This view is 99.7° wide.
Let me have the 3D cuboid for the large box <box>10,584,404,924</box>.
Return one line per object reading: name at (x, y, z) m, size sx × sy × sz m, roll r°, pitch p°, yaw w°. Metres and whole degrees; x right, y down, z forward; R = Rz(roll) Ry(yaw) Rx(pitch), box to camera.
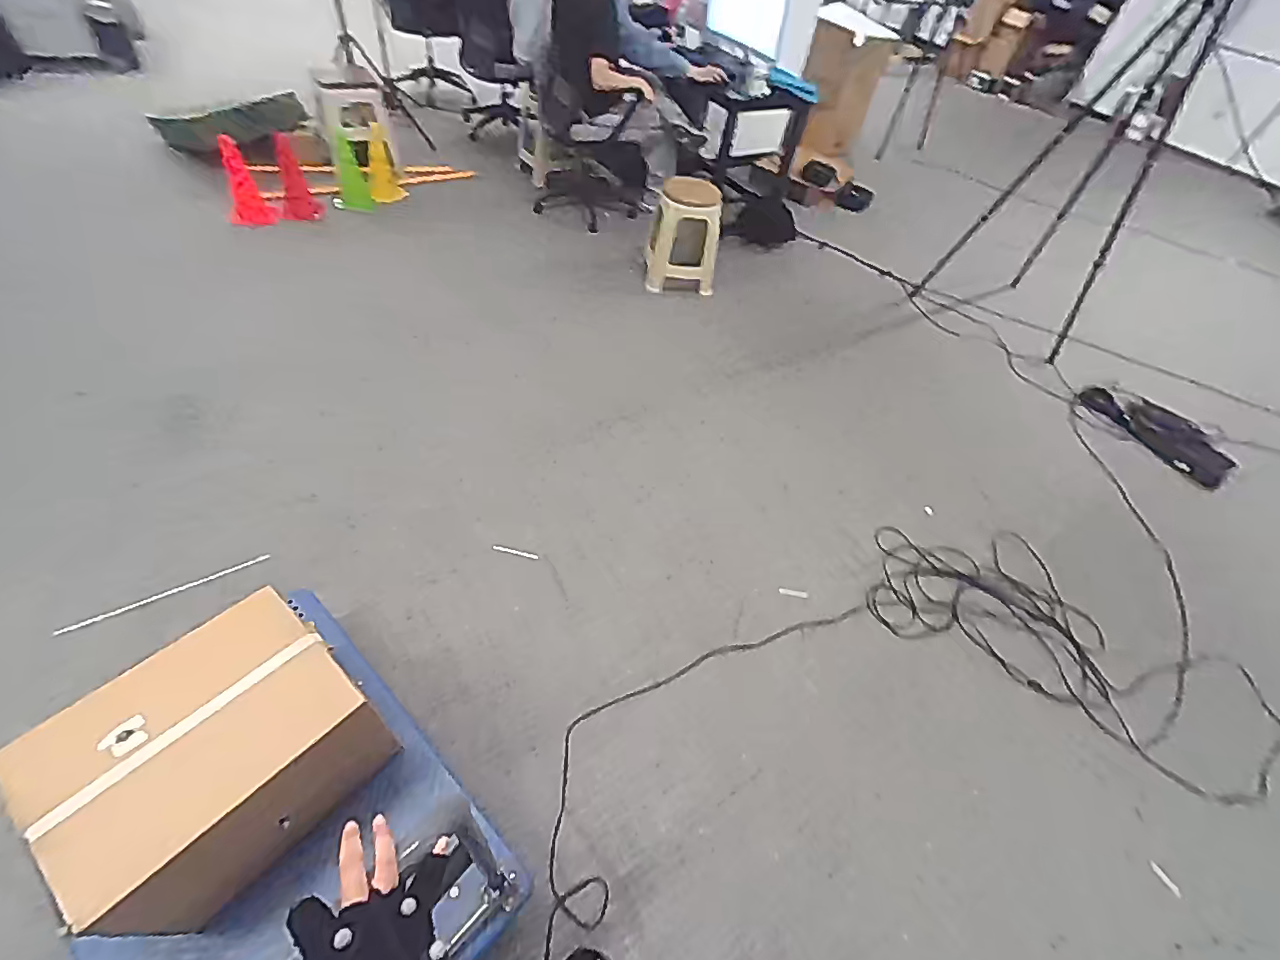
large box at (-0.714, 0.477, 0.974) m, size 0.320 × 0.320 × 0.408 m, roll 36°, pitch 55°, yaw 20°
